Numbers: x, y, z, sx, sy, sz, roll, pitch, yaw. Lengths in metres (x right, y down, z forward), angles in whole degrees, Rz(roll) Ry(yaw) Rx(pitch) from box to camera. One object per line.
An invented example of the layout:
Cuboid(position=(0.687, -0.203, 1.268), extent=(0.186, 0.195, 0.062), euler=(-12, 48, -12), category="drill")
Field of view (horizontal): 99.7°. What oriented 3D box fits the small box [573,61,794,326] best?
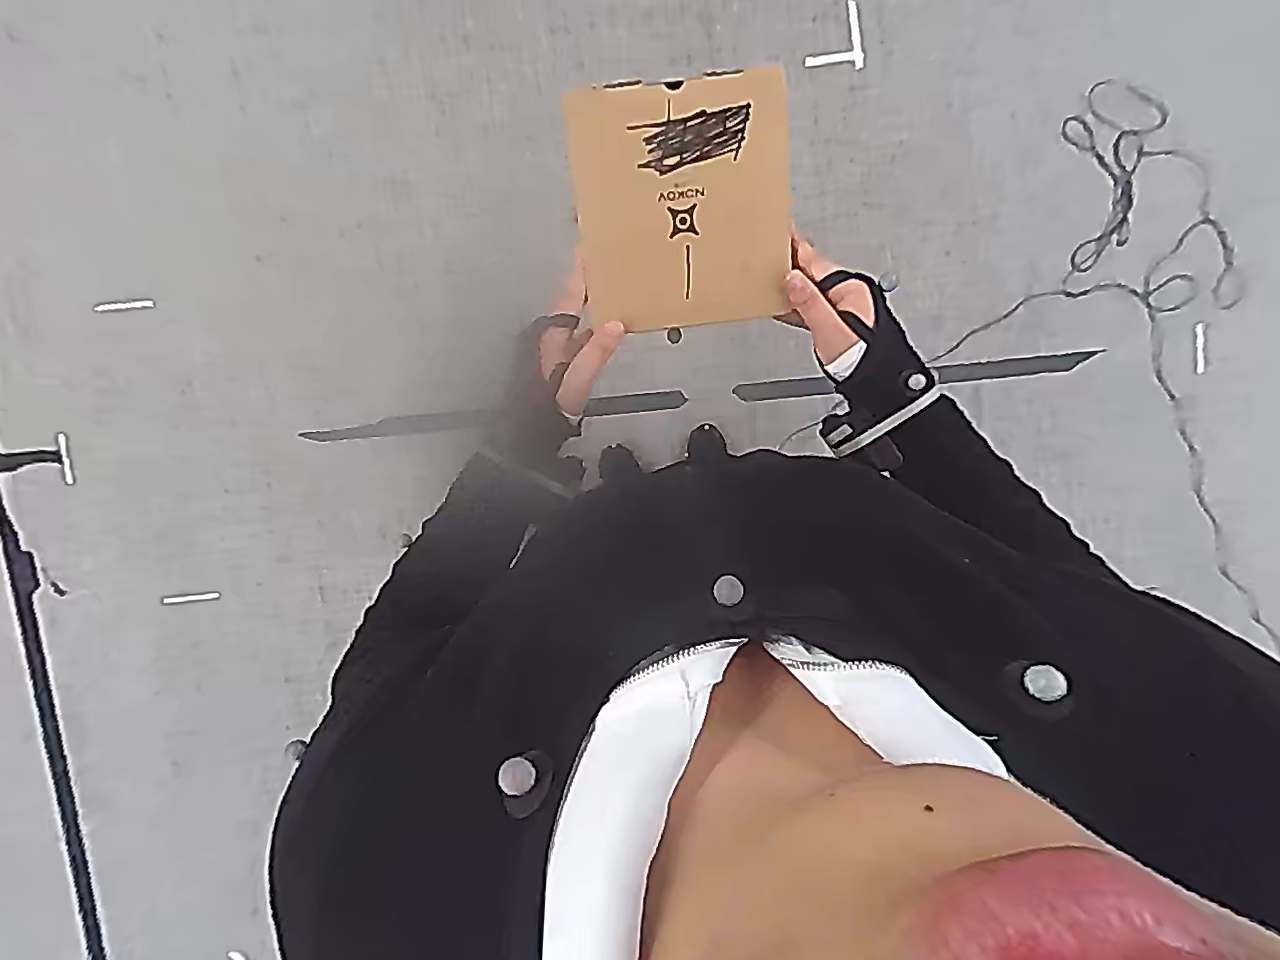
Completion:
Cuboid(position=(0.034, -0.237, 0.493), extent=(0.168, 0.176, 0.179), euler=(-6, 107, 0), category="small box")
